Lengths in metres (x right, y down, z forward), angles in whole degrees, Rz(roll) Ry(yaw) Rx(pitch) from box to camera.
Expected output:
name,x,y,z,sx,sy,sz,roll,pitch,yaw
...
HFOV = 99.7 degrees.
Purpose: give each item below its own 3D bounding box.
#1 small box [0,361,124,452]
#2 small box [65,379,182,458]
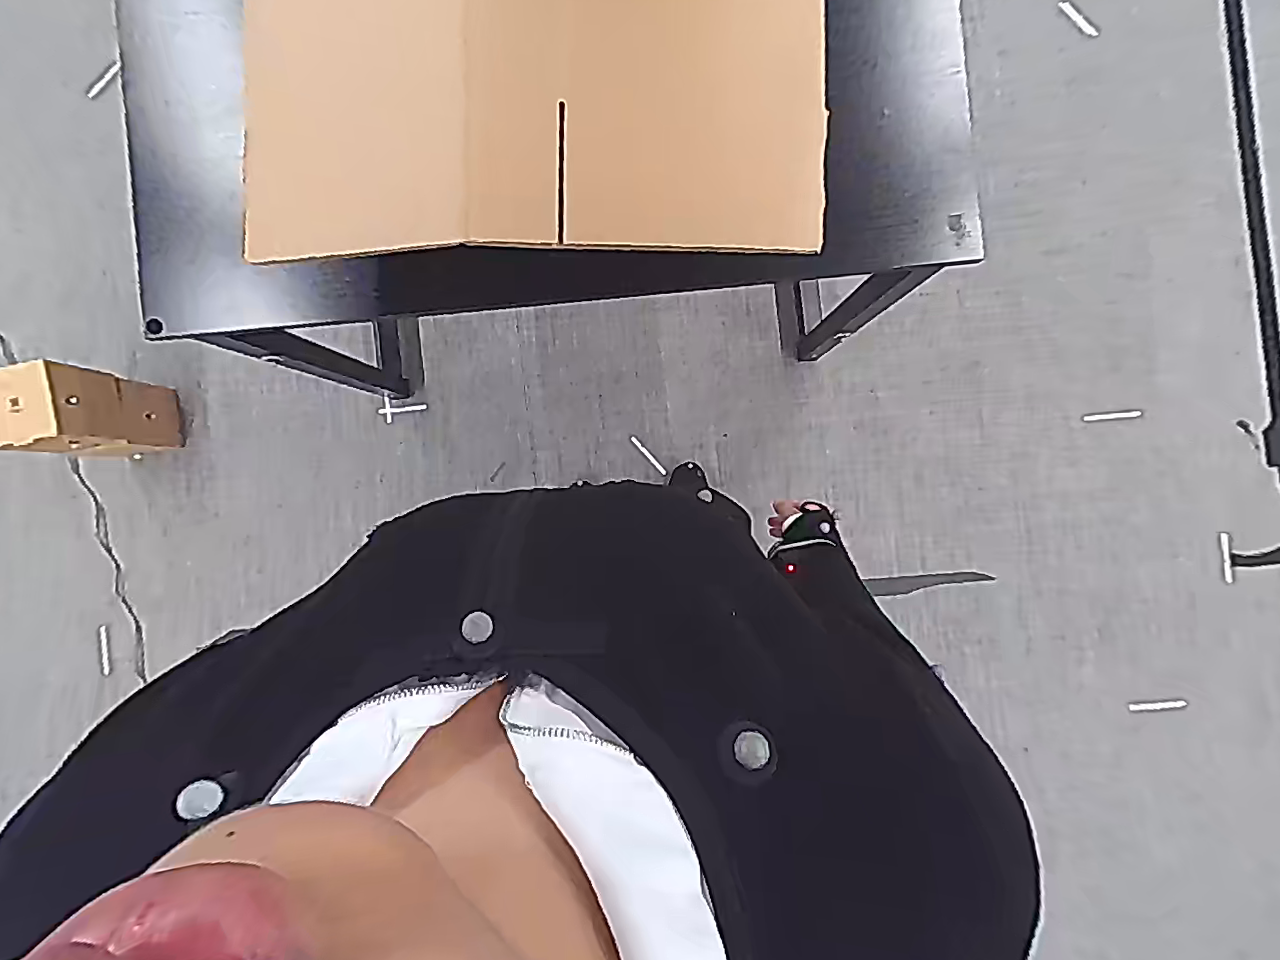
name,x,y,z,sx,sy,sz,roll,pitch,yaw
small box,-1.379,-0.164,1.277,0.168,0.176,0.179,-12,89,0
small box,-1.376,-0.157,1.440,0.168,0.176,0.179,-9,91,1
